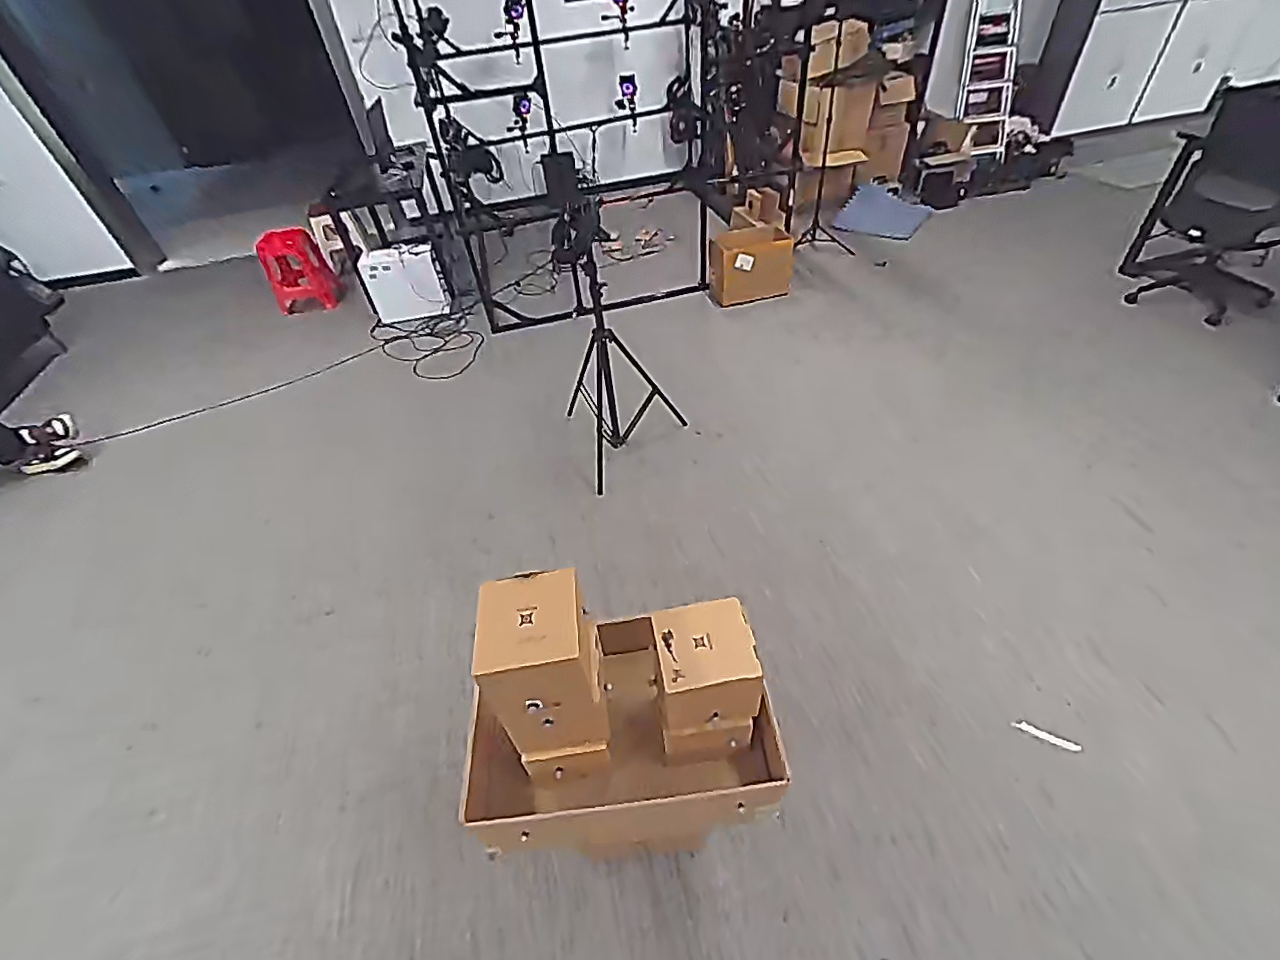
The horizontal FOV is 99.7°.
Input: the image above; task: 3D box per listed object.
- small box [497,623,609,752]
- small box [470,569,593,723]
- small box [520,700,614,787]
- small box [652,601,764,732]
[{"bbox_3d":[-0.158,0.398,1.028,0.179,0.176,0.168,-7,43,-2],"label":"small box"},{"bbox_3d":[-0.176,0.280,0.916,0.168,0.176,0.179,-9,42,-2],"label":"small box"},{"bbox_3d":[-0.149,0.524,1.135,0.168,0.176,0.179,-8,43,-3],"label":"small box"},{"bbox_3d":[0.123,0.357,1.033,0.179,0.176,0.168,-9,43,-3],"label":"small box"}]
